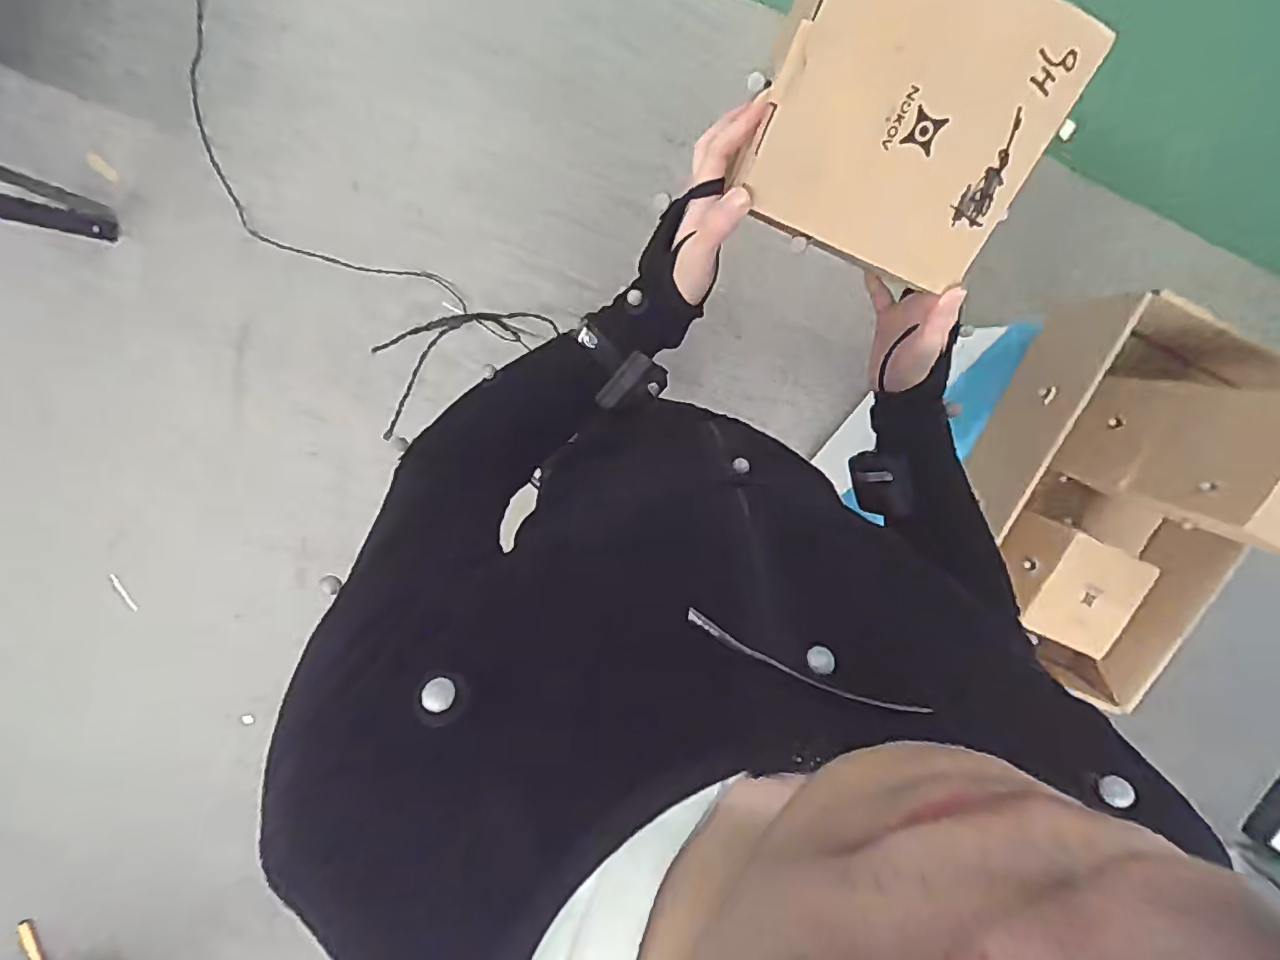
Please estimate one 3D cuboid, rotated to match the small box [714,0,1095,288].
[{"bbox_3d":[0.168,-0.269,0.418,0.179,0.176,0.168,21,117,-7],"label":"small box"}]
